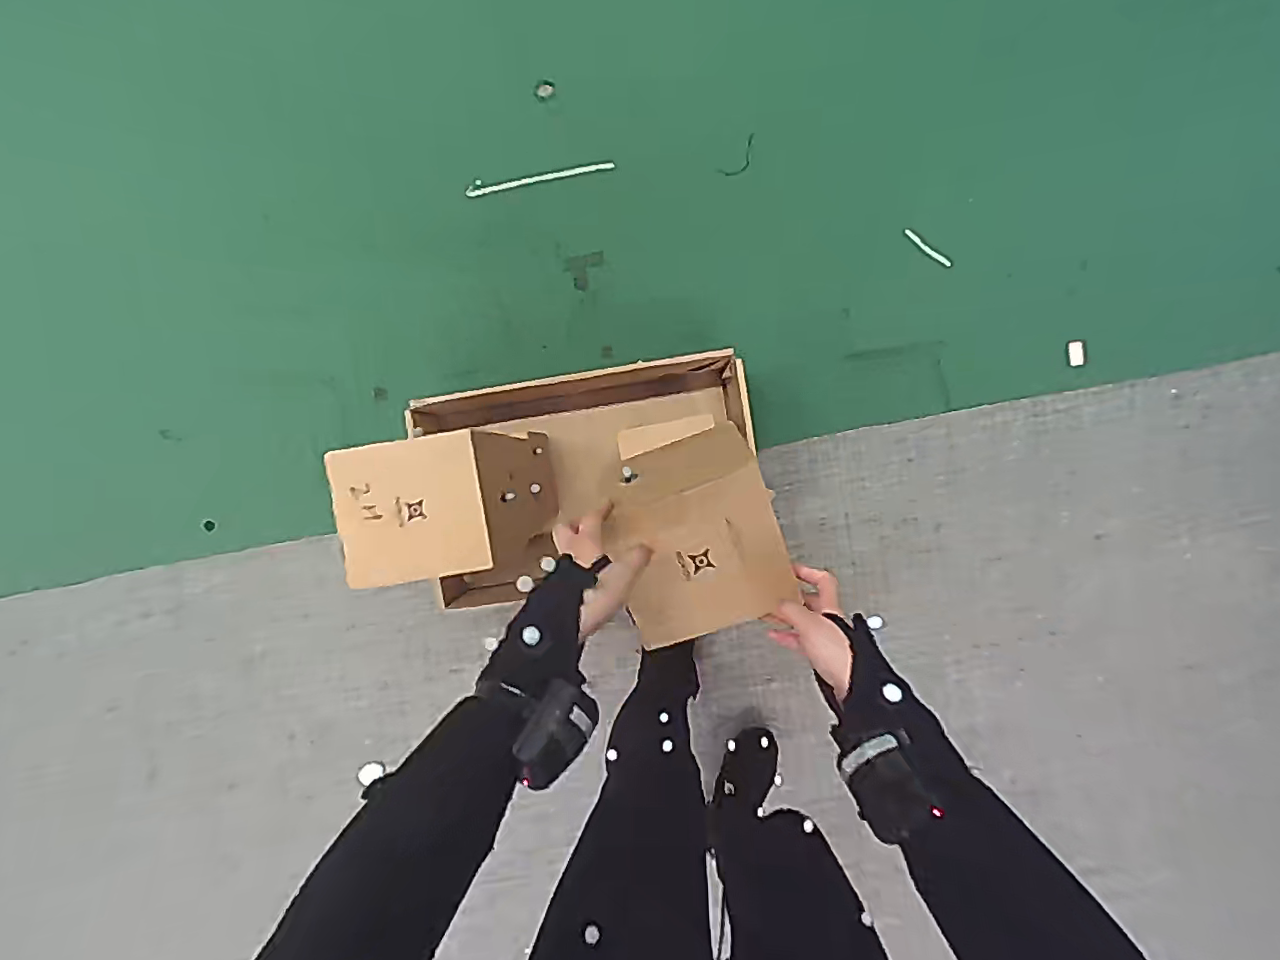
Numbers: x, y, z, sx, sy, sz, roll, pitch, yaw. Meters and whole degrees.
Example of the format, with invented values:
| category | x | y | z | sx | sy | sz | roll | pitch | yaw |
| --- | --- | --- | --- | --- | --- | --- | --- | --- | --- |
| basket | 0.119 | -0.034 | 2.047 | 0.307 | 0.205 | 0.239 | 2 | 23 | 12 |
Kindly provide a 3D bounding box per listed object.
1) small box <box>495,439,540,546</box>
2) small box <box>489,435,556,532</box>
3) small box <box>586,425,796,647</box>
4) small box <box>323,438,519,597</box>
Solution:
| category | x | y | z | sx | sy | sz | roll | pitch | yaw |
| --- | --- | --- | --- | --- | --- | --- | --- | --- | --- |
| small box | -0.272 | 0.030 | 0.866 | 0.179 | 0.176 | 0.168 | -9 | 93 | 1 |
| small box | -0.265 | 0.011 | 1.029 | 0.168 | 0.176 | 0.179 | -10 | 93 | 2 |
| small box | 0.055 | 0.054 | 0.619 | 0.179 | 0.176 | 0.168 | -20 | 109 | 6 |
| small box | -0.264 | 0.039 | 0.700 | 0.179 | 0.176 | 0.168 | -10 | 92 | 2 |
